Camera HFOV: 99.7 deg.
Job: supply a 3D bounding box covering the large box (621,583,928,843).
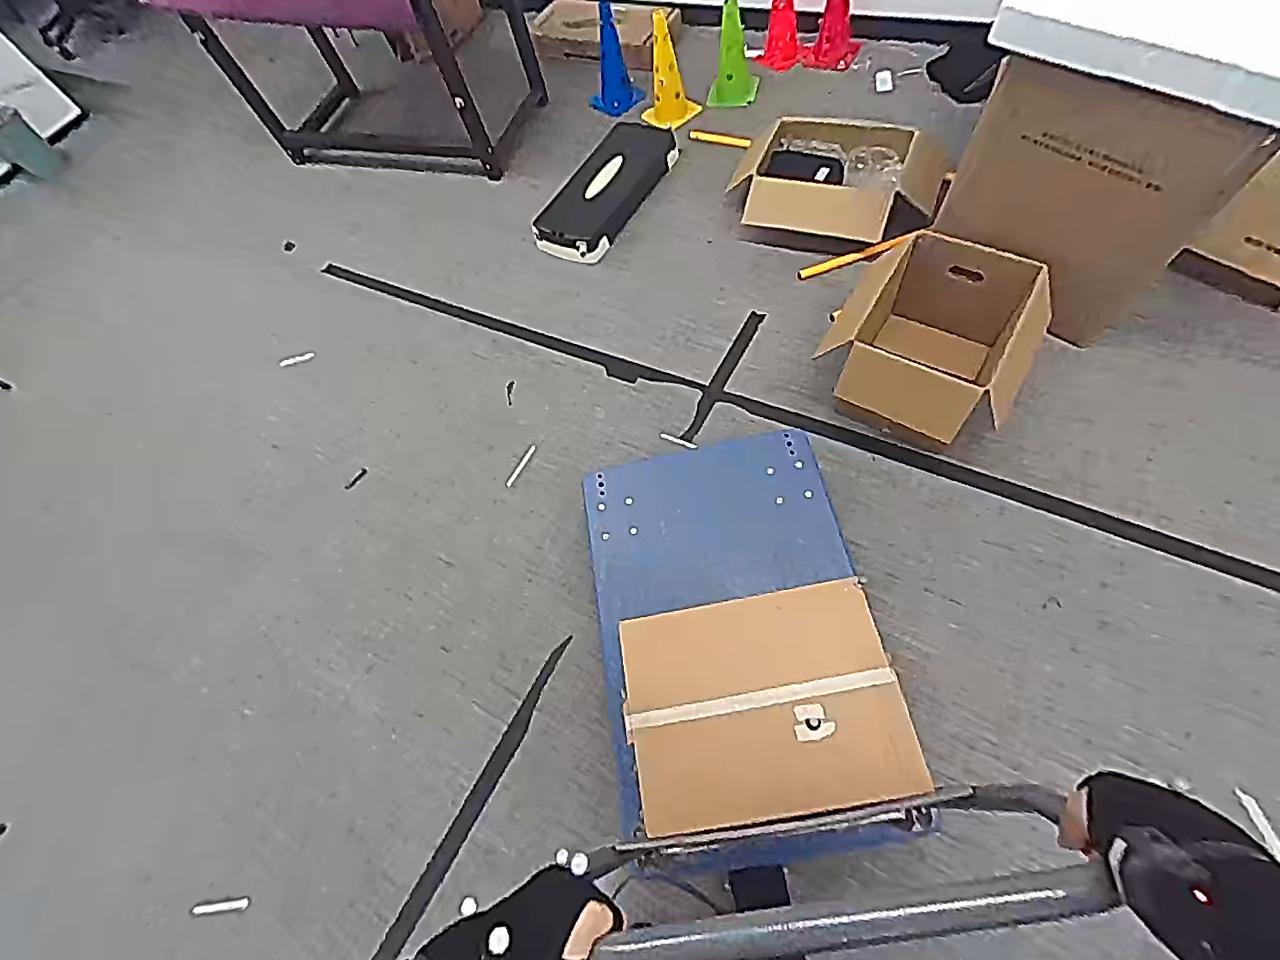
[{"bbox_3d":[0.203,0.412,0.956,0.408,0.320,0.320,-11,61,3],"label":"large box"}]
